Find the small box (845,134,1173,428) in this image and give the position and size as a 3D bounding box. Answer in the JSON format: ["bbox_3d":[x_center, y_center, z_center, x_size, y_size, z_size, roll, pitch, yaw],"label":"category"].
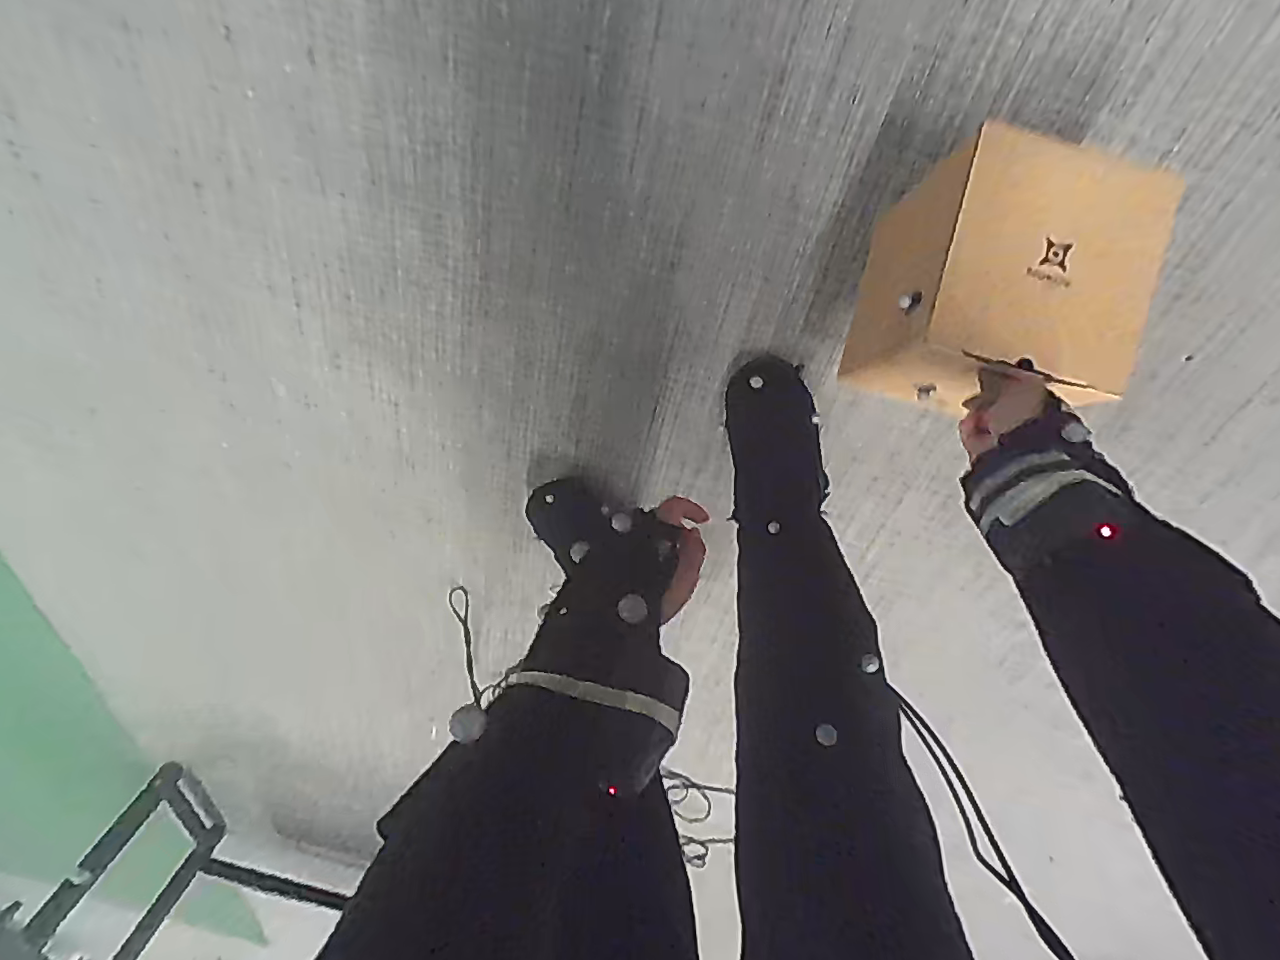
[{"bbox_3d":[0.310,-0.158,0.491,0.168,0.176,0.179,14,87,-3],"label":"small box"}]
